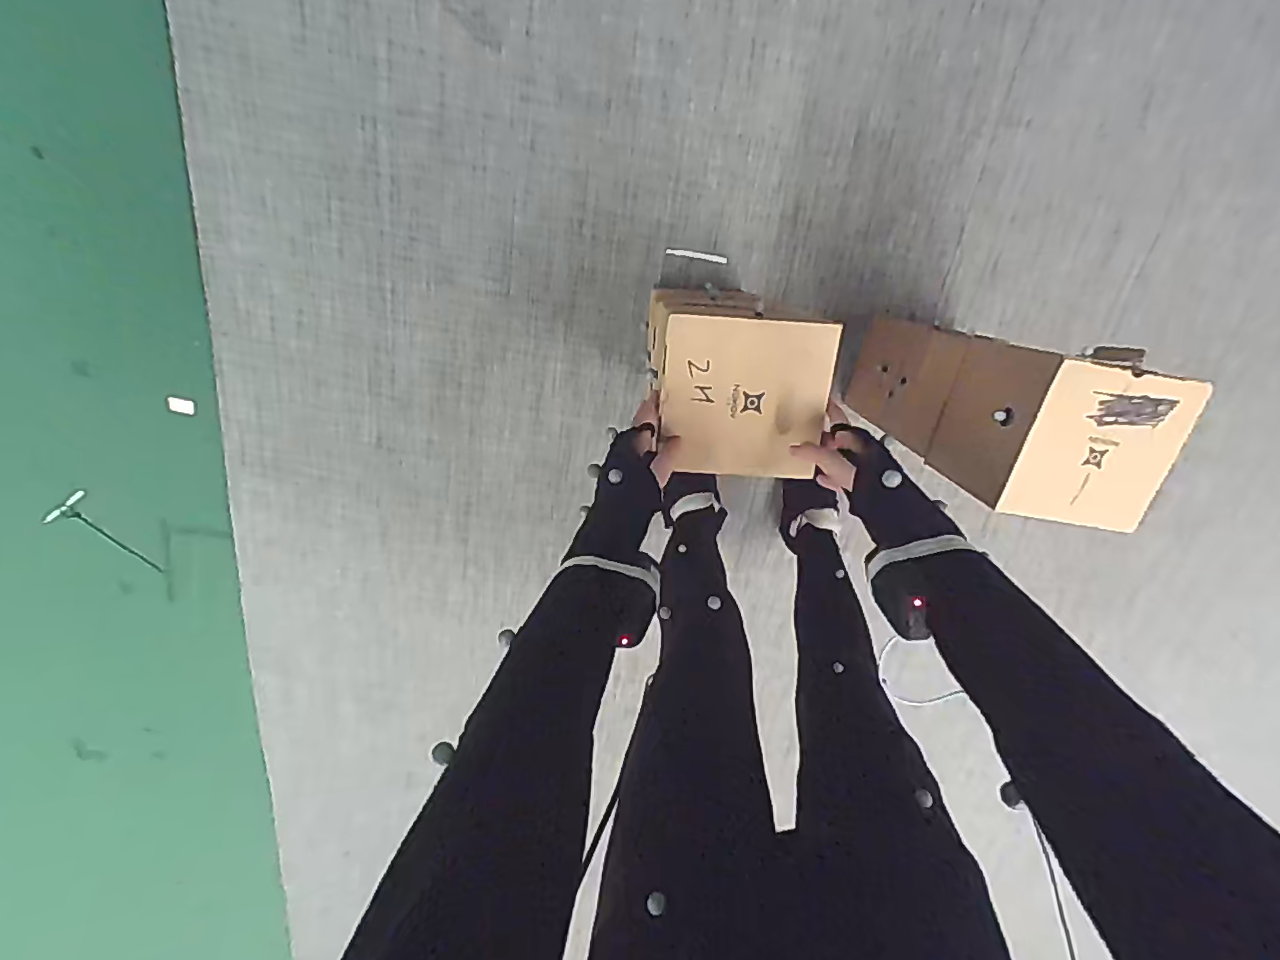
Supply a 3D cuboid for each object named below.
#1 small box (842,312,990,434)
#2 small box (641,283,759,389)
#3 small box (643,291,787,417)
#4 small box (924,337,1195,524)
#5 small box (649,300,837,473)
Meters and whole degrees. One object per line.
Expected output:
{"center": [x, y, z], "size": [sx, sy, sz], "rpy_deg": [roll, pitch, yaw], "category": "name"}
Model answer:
{"center": [0.482, -0.192, 0.965], "size": [0.168, 0.176, 0.179], "rpy_deg": [9, 112, -5], "category": "small box"}
{"center": [0.094, -0.250, 0.942], "size": [0.179, 0.176, 0.168], "rpy_deg": [4, 111, 0], "category": "small box"}
{"center": [0.098, -0.184, 0.791], "size": [0.179, 0.176, 0.168], "rpy_deg": [3, 112, -1], "category": "small box"}
{"center": [0.483, -0.070, 0.660], "size": [0.168, 0.176, 0.179], "rpy_deg": [9, 112, -3], "category": "small box"}
{"center": [0.105, -0.118, 0.638], "size": [0.179, 0.176, 0.168], "rpy_deg": [4, 111, -1], "category": "small box"}
